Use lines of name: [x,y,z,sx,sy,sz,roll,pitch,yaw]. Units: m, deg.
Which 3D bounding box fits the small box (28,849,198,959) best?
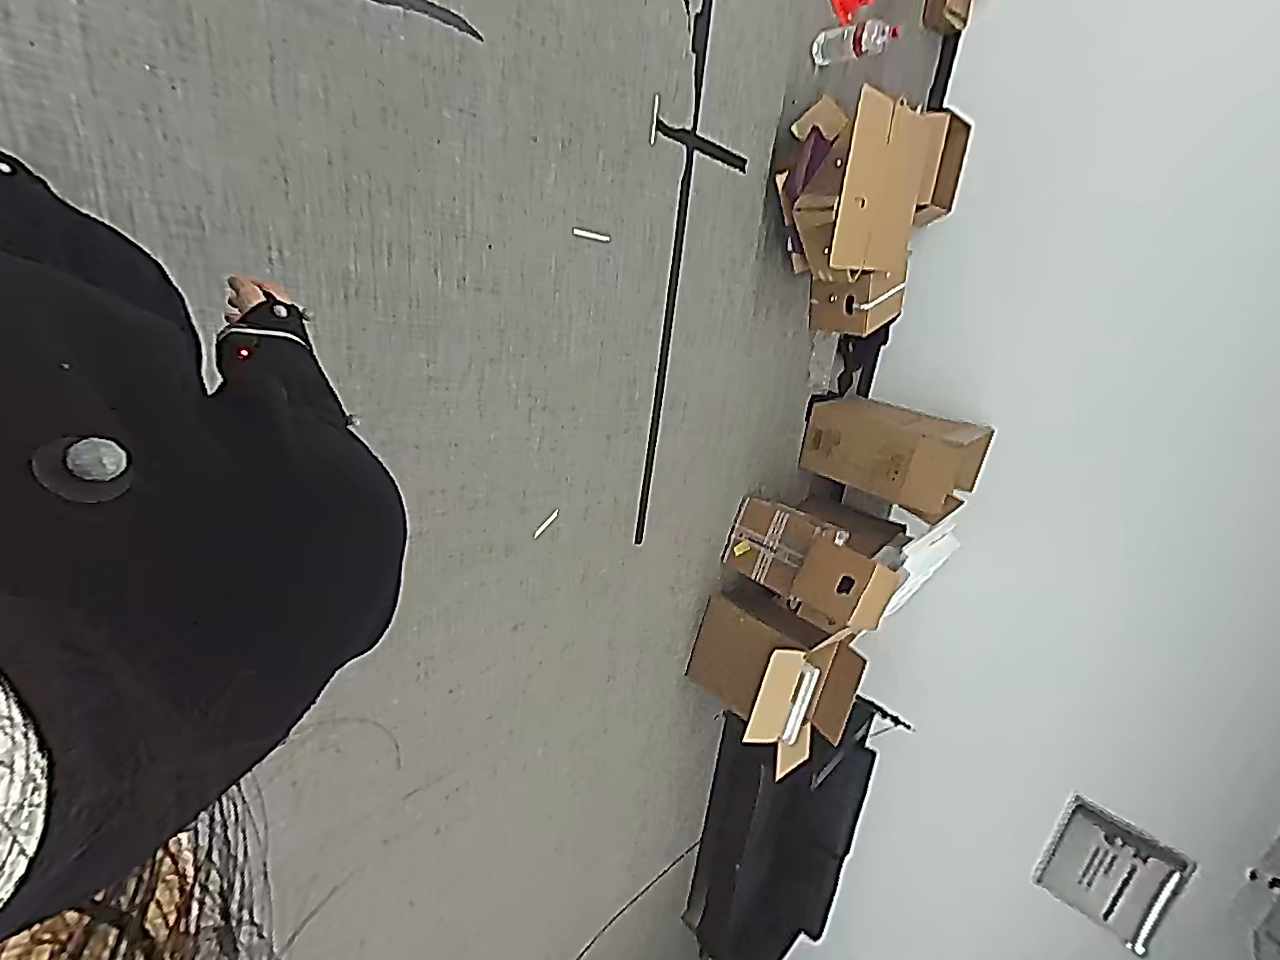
small box: [-0.762,0.685,0.785,0.168,0.176,0.179,-4,111,-46]
